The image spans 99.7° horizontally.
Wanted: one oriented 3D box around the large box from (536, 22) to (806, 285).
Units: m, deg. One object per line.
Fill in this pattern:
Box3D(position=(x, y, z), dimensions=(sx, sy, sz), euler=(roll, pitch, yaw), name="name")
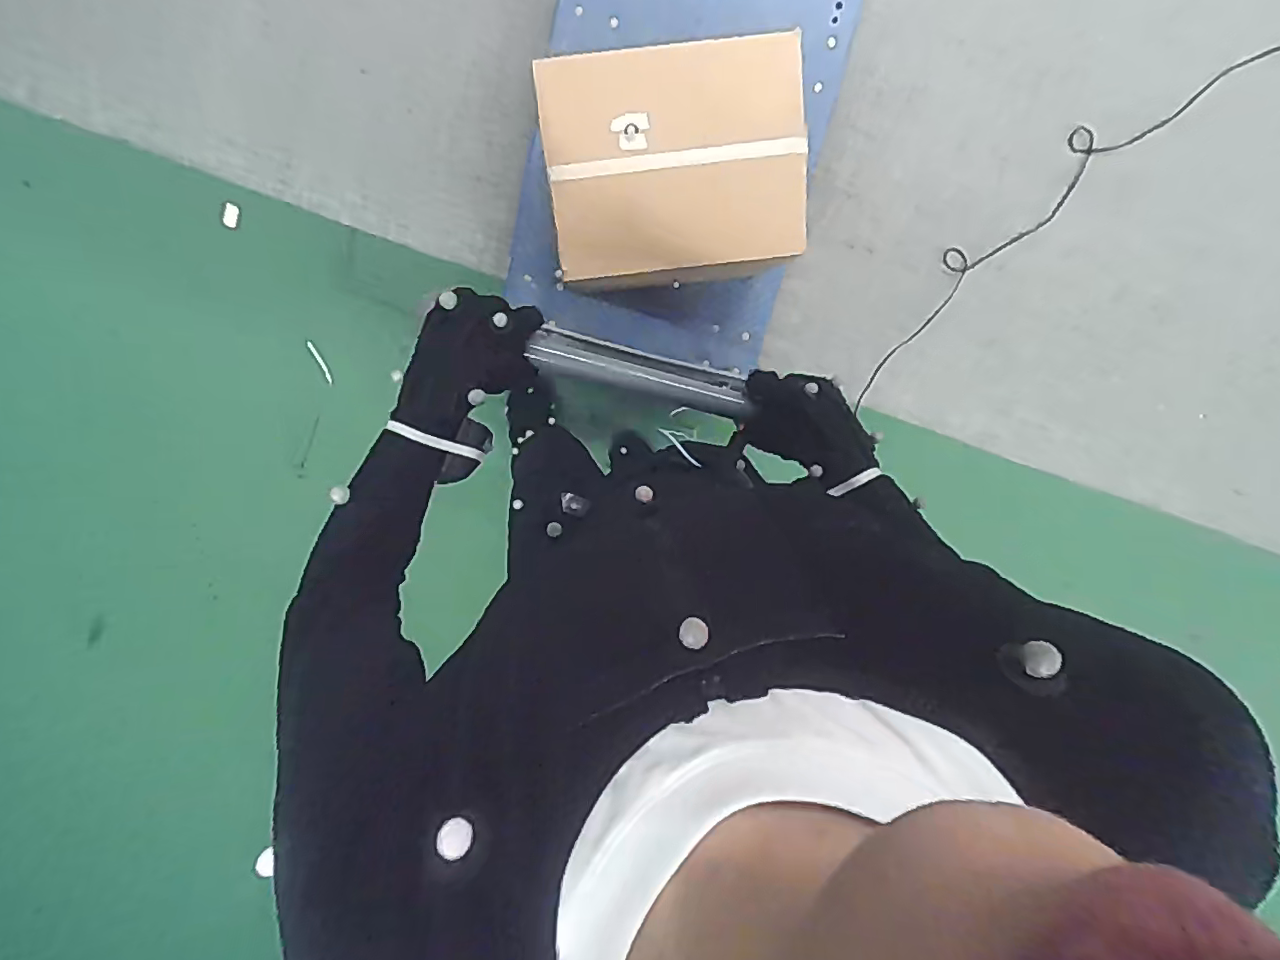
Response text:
Box3D(position=(0.055, -0.549, 0.986), dimensions=(0.408, 0.320, 0.320), euler=(-7, 105, 0), name="large box")
